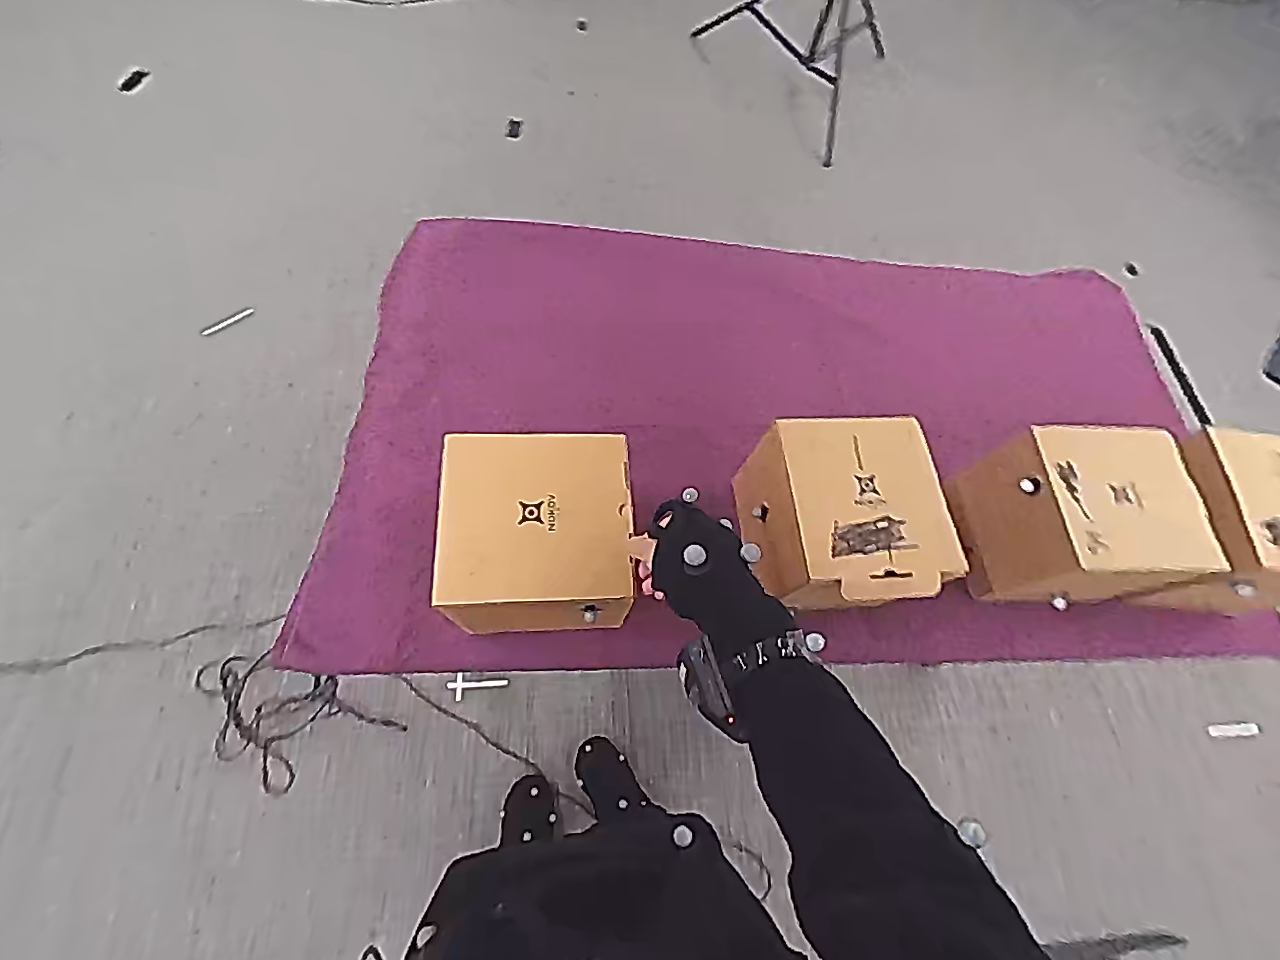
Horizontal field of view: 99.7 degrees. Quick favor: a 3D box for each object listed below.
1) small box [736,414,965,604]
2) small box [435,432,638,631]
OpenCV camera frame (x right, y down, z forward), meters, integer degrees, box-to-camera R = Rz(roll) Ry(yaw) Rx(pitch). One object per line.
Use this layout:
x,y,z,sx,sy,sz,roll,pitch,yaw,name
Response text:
0.220,0.042,0.617,0.168,0.176,0.179,-2,67,-9,small box
-0.101,0.061,0.567,0.179,0.176,0.168,-1,67,-9,small box
